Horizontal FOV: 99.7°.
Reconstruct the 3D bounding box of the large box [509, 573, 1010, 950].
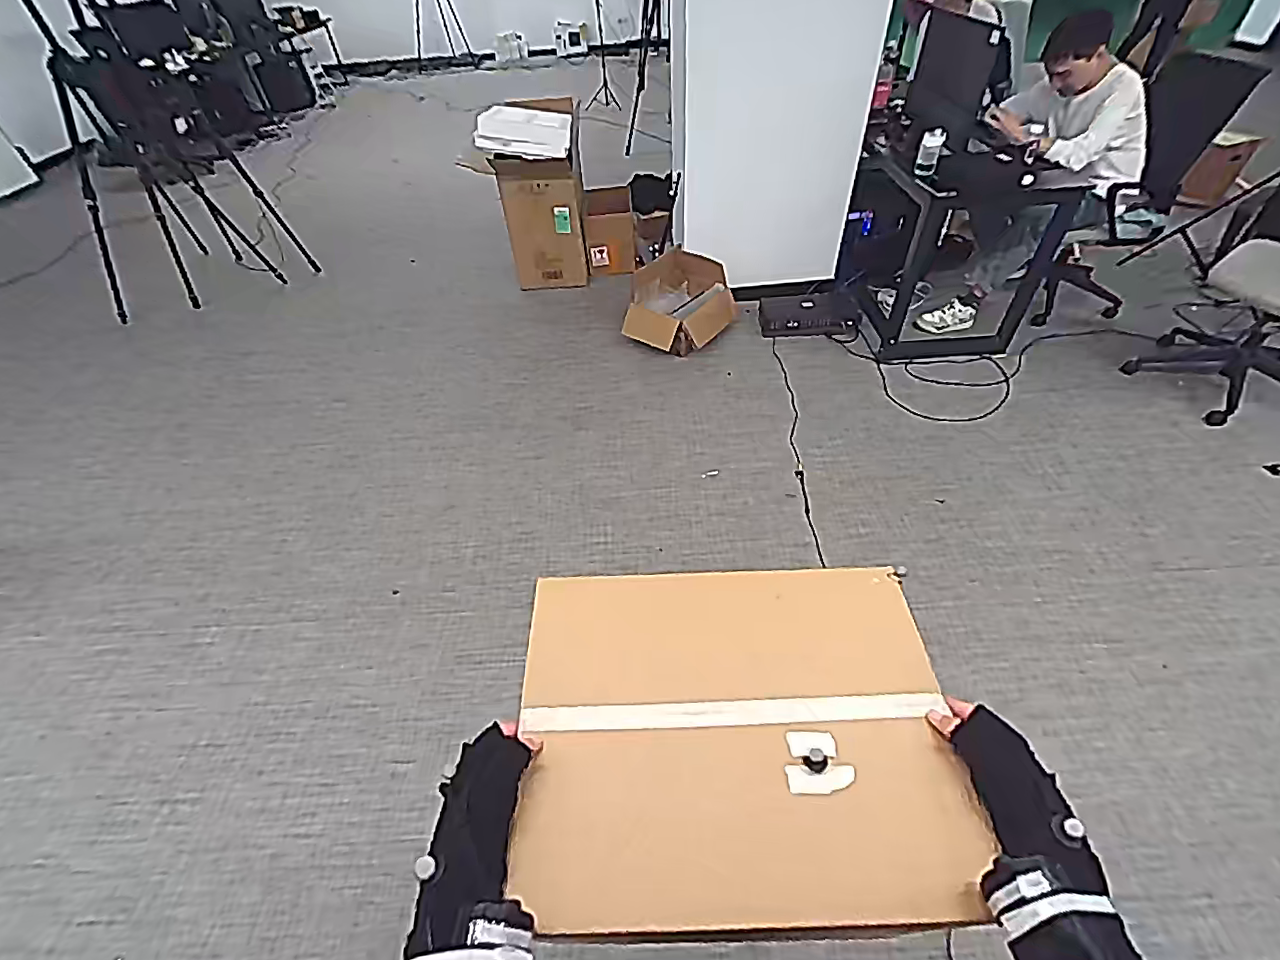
[{"bbox_3d":[0.091,0.328,0.628,0.408,0.320,0.320,-2,48,0],"label":"large box"}]
